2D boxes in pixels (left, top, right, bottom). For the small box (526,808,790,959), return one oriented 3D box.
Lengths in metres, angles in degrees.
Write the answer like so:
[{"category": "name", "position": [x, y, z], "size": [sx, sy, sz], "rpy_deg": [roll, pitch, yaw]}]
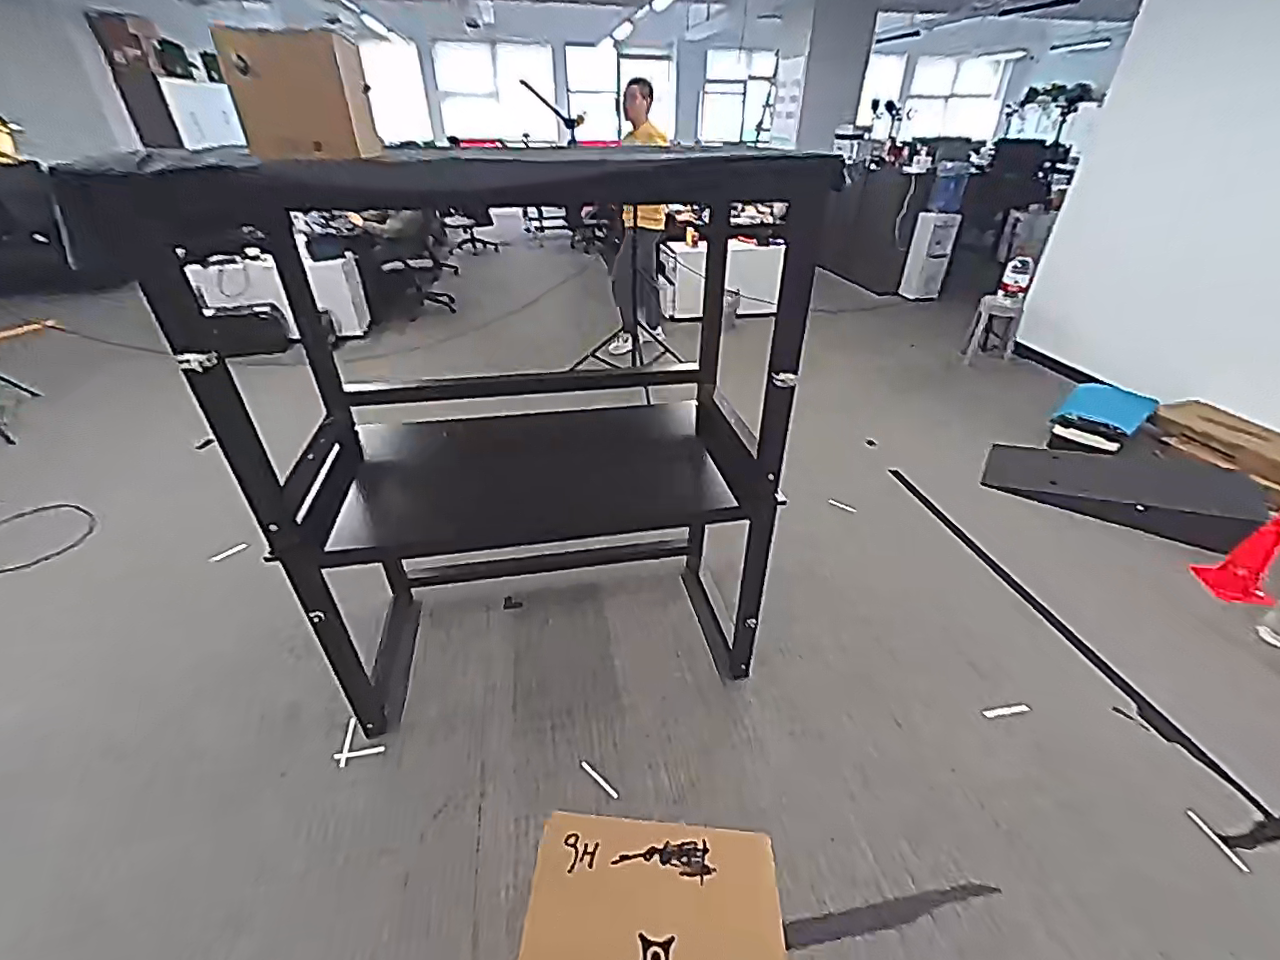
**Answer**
[{"category": "small box", "position": [0.005, 0.365, 0.372], "size": [0.168, 0.176, 0.179], "rpy_deg": [7, 33, 0]}]
